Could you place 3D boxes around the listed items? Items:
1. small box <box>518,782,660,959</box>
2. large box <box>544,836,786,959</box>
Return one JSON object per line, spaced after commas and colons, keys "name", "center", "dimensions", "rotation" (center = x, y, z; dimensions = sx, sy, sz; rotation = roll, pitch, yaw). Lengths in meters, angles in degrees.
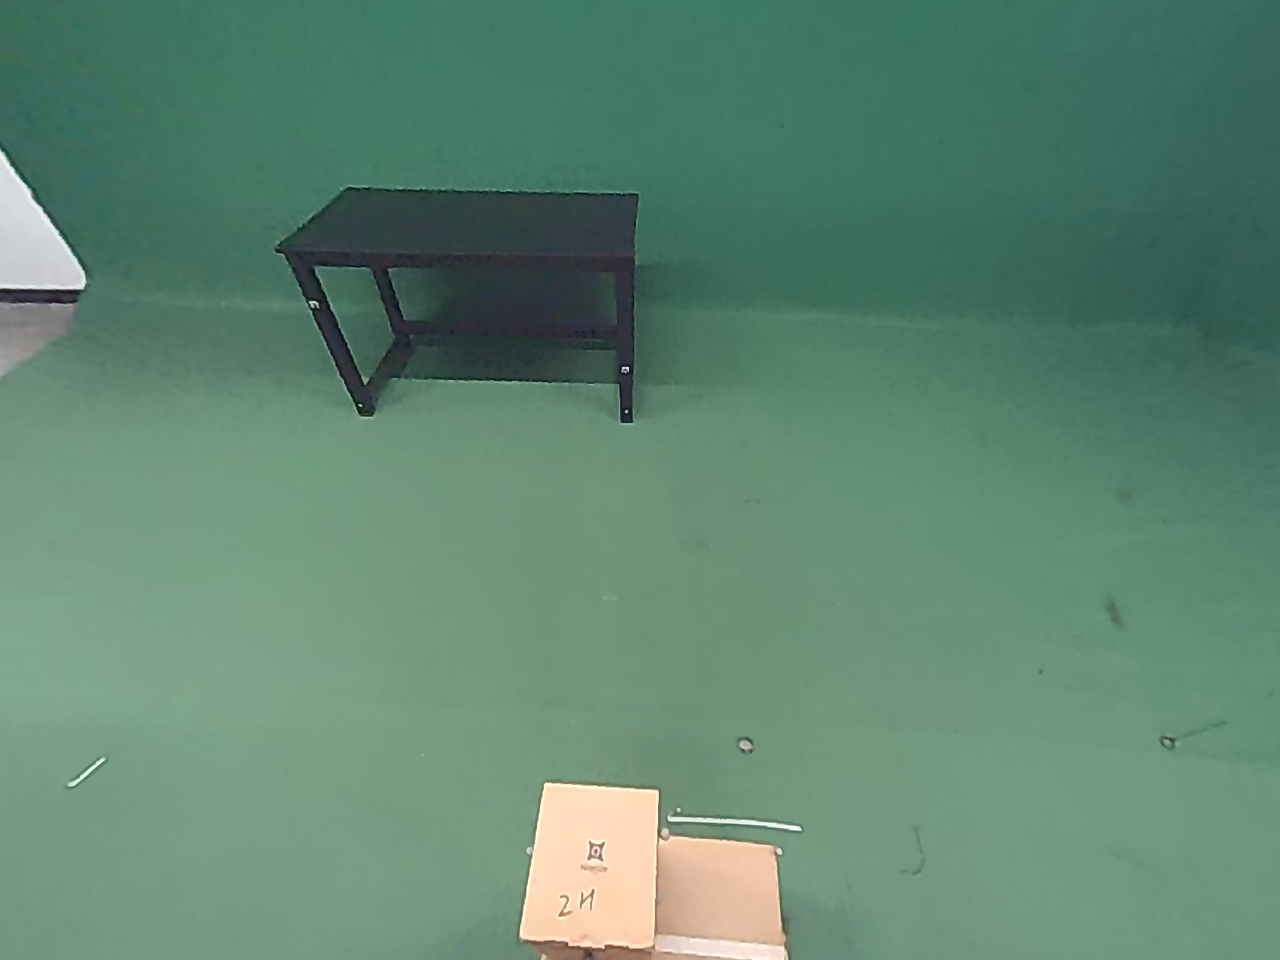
{"name": "small box", "center": [-0.061, 0.547, 0.752], "dimensions": [0.168, 0.176, 0.179], "rotation": [2, 45, 2]}
{"name": "large box", "center": [0.039, 0.877, 0.998], "dimensions": [0.408, 0.320, 0.320], "rotation": [3, 45, 2]}
